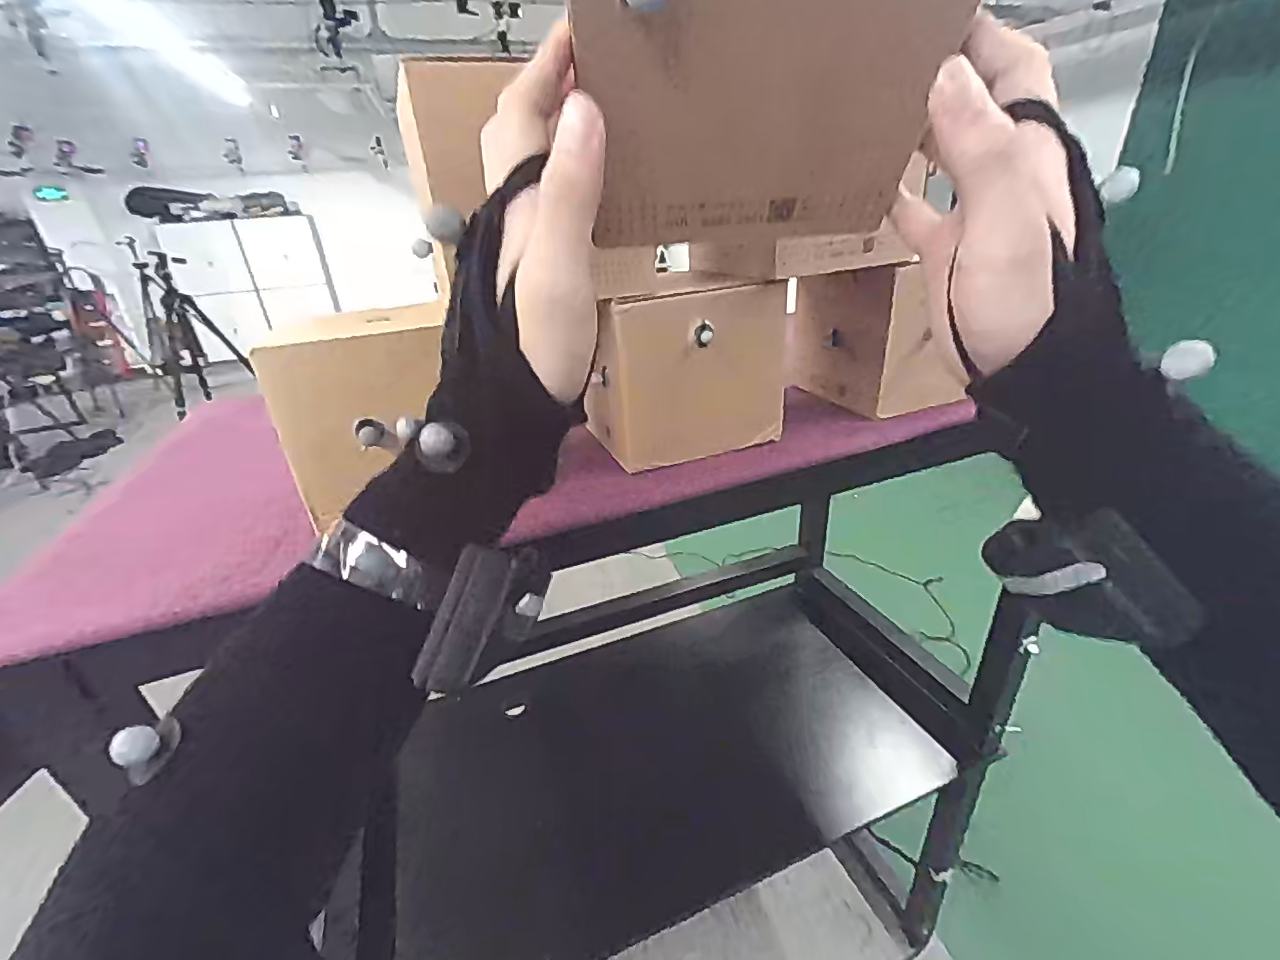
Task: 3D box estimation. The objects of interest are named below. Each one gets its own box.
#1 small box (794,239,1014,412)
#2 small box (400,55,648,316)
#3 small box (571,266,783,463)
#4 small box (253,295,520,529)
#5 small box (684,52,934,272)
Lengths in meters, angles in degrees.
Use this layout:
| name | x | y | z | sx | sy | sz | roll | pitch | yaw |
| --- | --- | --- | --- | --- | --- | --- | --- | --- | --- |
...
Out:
| name | x | y | z | sx | sy | sz | roll | pitch | yaw |
| --- | --- | --- | --- | --- | --- | --- | --- | --- | --- |
| small box | 0.308 | -0.194 | 0.666 | 0.179 | 0.176 | 0.168 | -15 | 30 | -17 |
| small box | -0.100 | -0.251 | 0.480 | 0.179 | 0.176 | 0.168 | -15 | 28 | -18 |
| small box | 0.036 | -0.130 | 0.584 | 0.179 | 0.176 | 0.168 | -13 | 27 | -16 |
| small box | -0.218 | -0.069 | 0.503 | 0.168 | 0.176 | 0.179 | -14 | 27 | -18 |
| small box | 0.158 | -0.308 | 0.550 | 0.168 | 0.176 | 0.179 | -14 | 28 | -17 |
